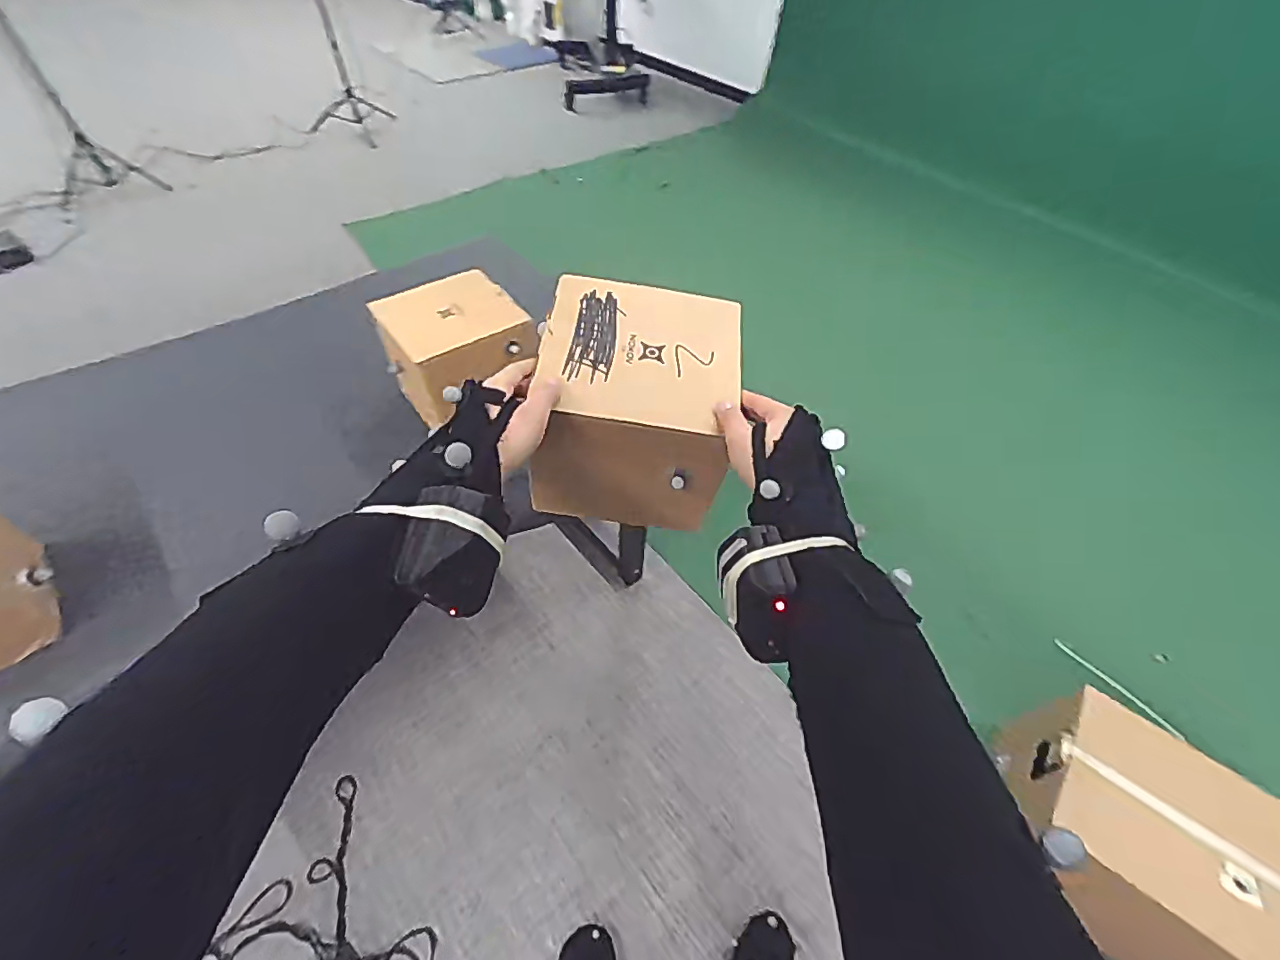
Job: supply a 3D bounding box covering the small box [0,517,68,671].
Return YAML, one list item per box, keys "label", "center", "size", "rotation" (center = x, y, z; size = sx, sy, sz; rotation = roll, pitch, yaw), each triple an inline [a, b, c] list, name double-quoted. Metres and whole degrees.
- label: "small box"
  center: [-0.764, 0.123, 0.552]
  size: [0.179, 0.176, 0.168]
  rotation: [-34, 61, -27]

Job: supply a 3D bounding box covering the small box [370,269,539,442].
- label: "small box"
  center: [-0.273, -0.187, 0.828]
  size: [0.179, 0.176, 0.168]
  rotation: [-31, 59, -25]
